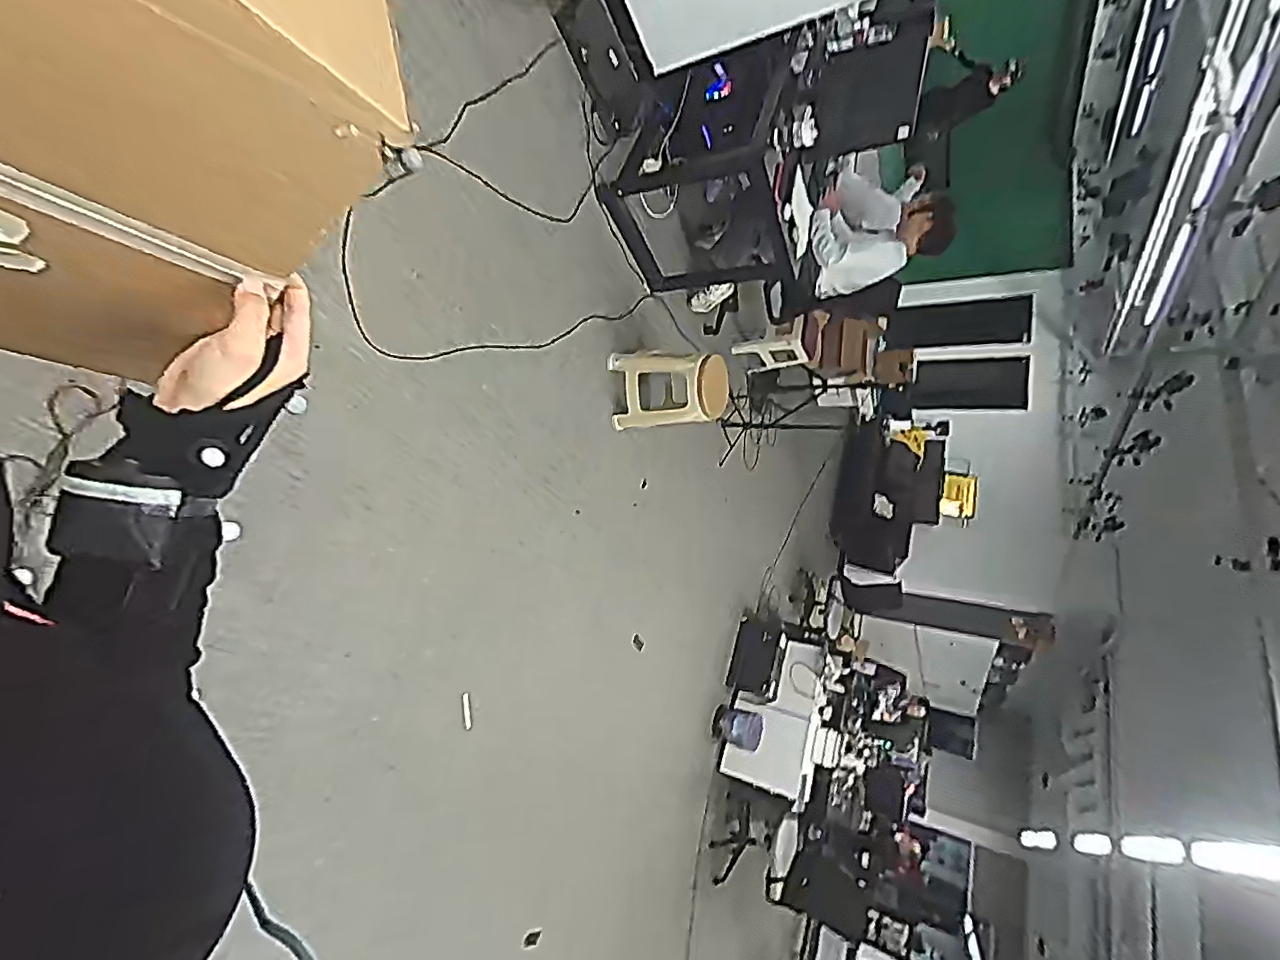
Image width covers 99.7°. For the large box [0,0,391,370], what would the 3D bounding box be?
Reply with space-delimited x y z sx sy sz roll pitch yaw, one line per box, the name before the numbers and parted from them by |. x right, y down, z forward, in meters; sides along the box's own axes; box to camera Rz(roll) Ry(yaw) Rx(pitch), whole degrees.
large box | -0.414 -0.311 0.267 0.408 0.320 0.320 13 56 -56
